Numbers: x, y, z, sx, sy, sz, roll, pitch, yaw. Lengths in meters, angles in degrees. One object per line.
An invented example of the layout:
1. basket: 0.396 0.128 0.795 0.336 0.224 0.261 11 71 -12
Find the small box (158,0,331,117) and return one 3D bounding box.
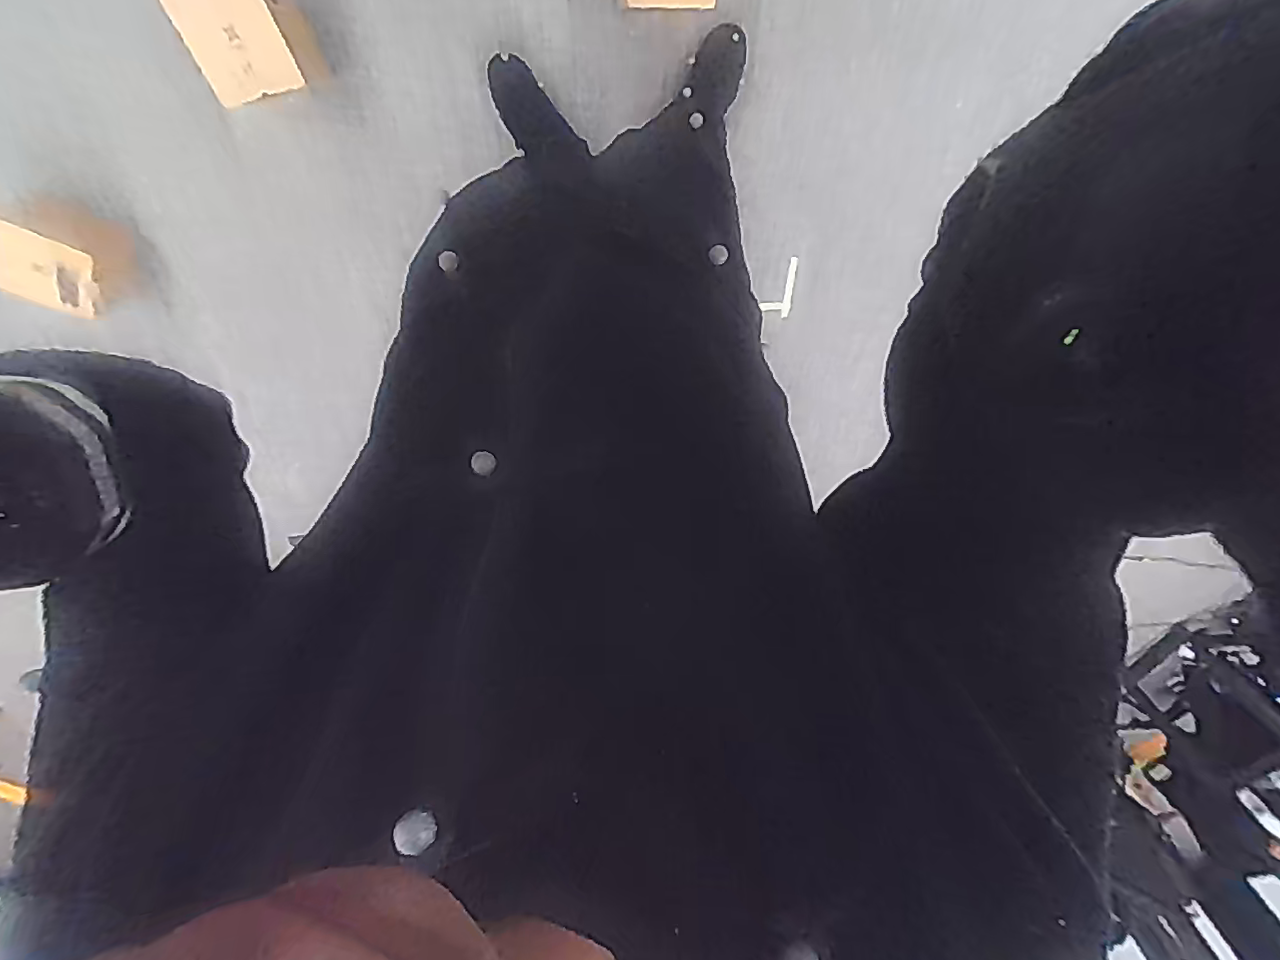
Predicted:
1. small box: -0.725 -0.812 1.016 0.168 0.176 0.179 -15 130 3

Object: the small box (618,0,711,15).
1. small box: 0.043 -0.980 1.002 0.168 0.176 0.179 -4 129 -5
